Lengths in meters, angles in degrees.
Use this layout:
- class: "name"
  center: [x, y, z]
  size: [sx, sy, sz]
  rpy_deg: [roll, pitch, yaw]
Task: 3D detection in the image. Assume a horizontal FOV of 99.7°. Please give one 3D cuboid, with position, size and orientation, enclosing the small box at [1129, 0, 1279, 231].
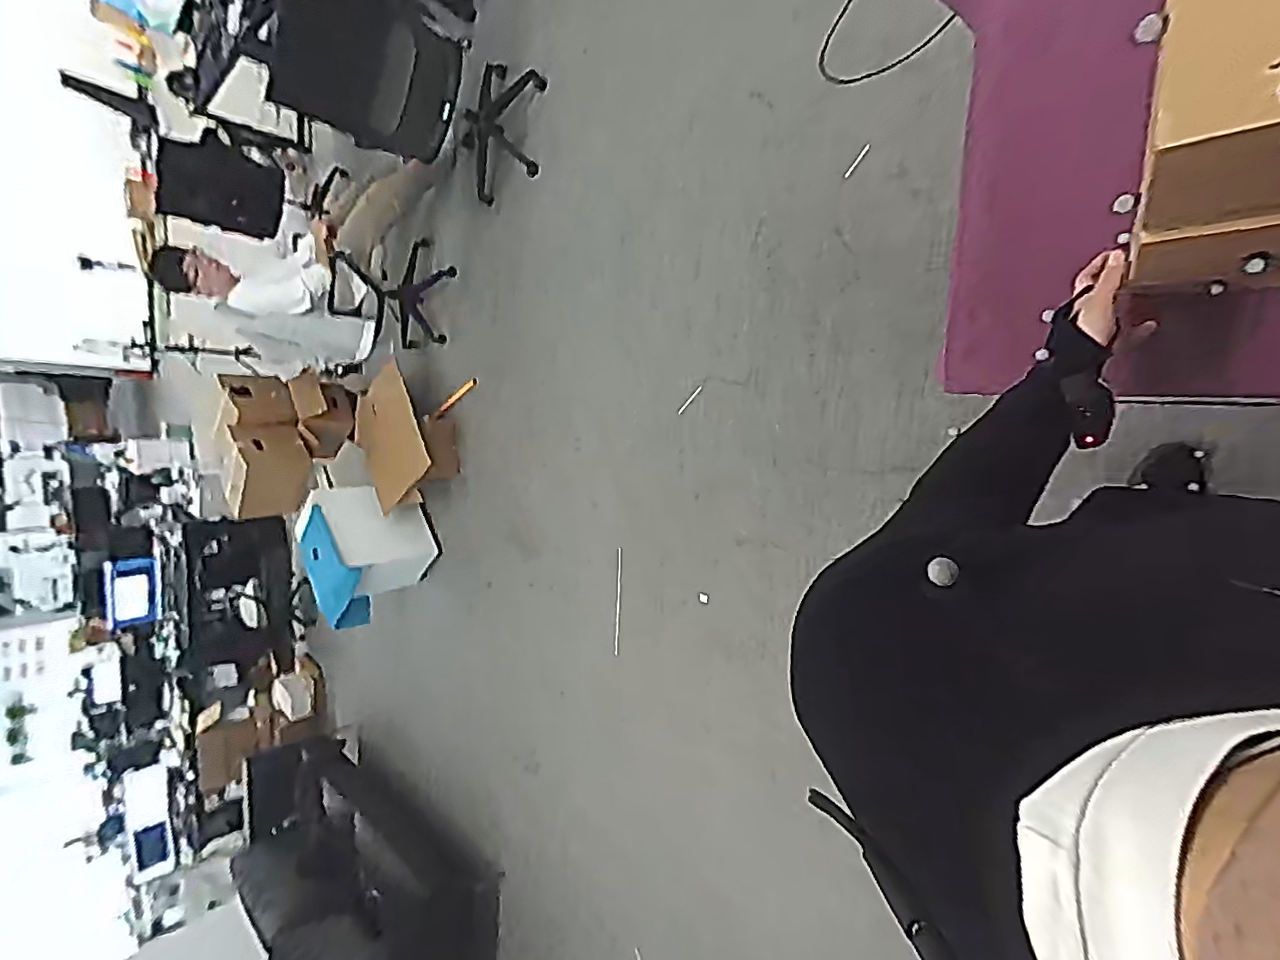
- class: "small box"
  center: [0.406, -0.273, 0.316]
  size: [0.168, 0.176, 0.179]
  rpy_deg: [6, 97, 41]

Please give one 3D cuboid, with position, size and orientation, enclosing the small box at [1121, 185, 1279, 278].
- class: "small box"
  center: [0.512, -0.274, 0.440]
  size: [0.168, 0.176, 0.179]
  rpy_deg: [7, 98, 40]
